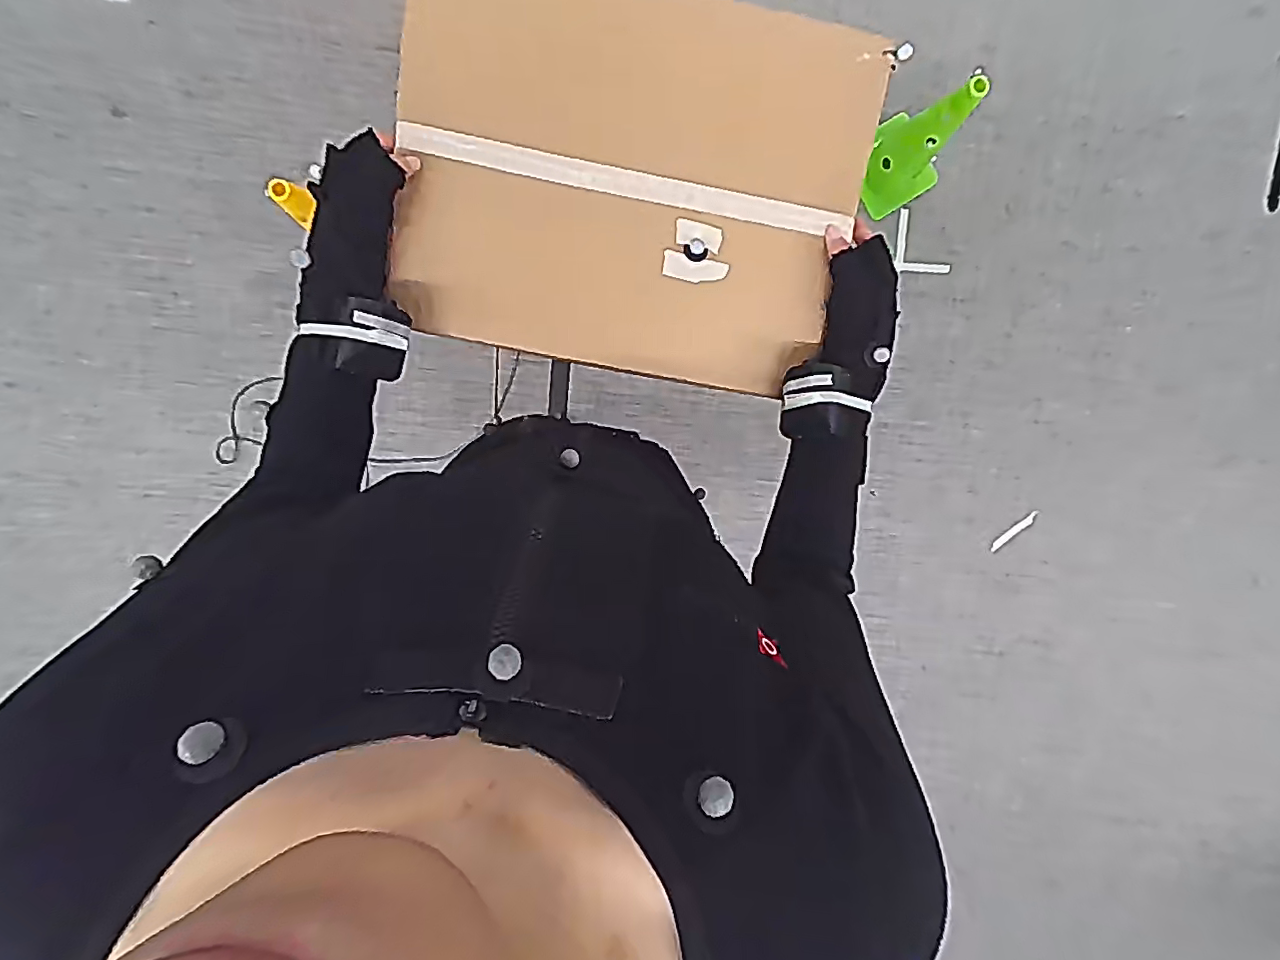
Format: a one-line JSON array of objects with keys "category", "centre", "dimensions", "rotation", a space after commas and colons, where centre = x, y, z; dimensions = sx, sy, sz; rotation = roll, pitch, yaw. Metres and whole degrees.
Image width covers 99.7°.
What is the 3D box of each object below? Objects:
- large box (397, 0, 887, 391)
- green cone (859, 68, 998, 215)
[{"category": "large box", "centre": [-0.013, -0.291, 0.626], "dimensions": [0.408, 0.320, 0.320], "rotation": [10, 101, -5]}, {"category": "green cone", "centre": [0.655, -0.788, 1.213], "dimensions": [0.202, 0.368, 0.200], "rotation": [-33, 98, 1]}]
